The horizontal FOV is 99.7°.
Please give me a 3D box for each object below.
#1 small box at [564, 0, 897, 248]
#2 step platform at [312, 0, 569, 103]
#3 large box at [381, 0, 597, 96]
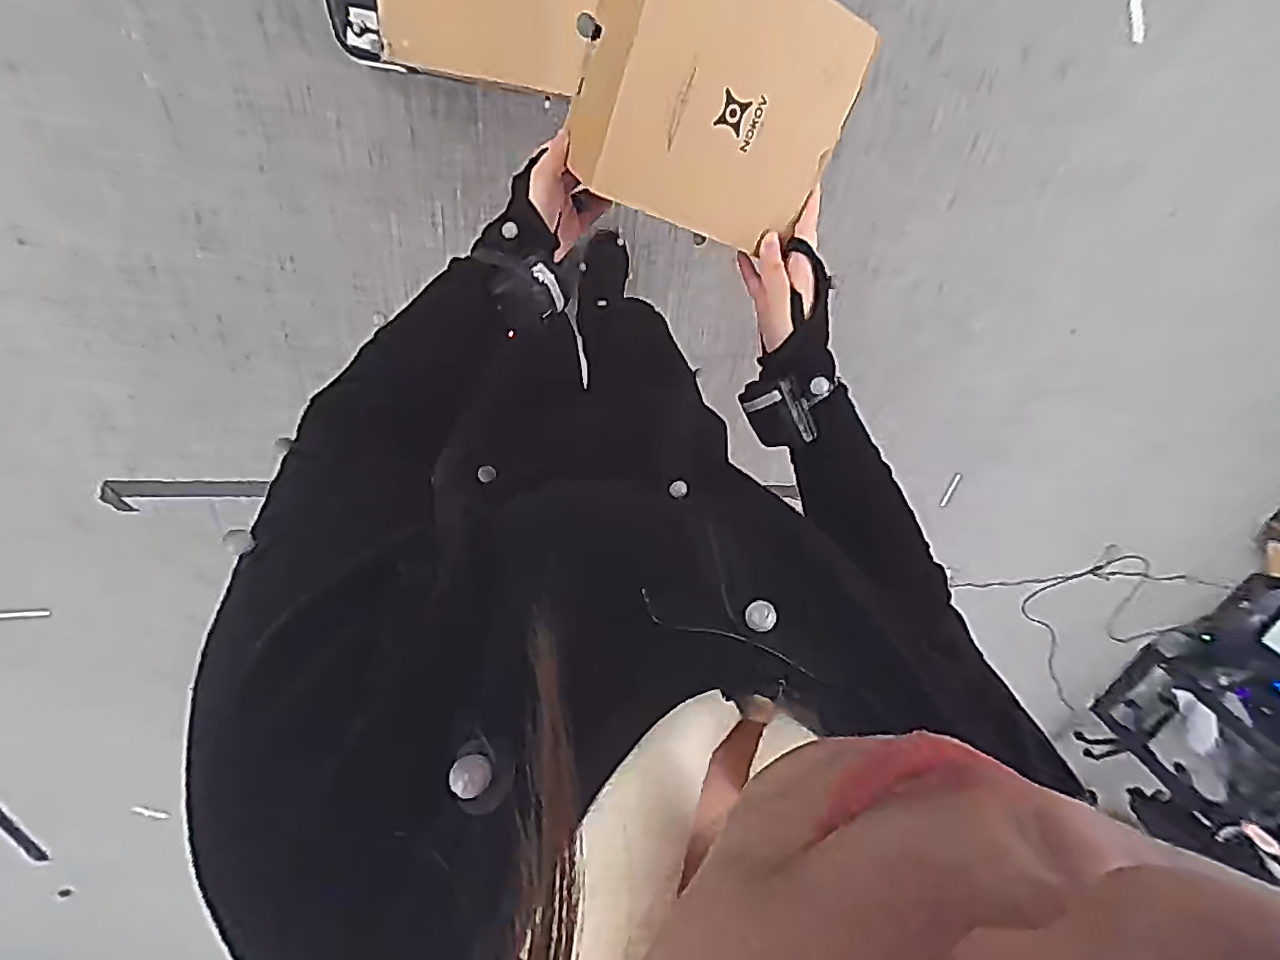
[{"bbox_3d":[0.053,-0.318,0.438,0.179,0.176,0.168,10,122,-25],"label":"small box"},{"bbox_3d":[-0.173,-0.815,0.904,0.684,0.204,0.286,6,123,-17],"label":"step platform"},{"bbox_3d":[-0.106,-0.695,0.708,0.408,0.320,0.320,1,123,-14],"label":"large box"}]
